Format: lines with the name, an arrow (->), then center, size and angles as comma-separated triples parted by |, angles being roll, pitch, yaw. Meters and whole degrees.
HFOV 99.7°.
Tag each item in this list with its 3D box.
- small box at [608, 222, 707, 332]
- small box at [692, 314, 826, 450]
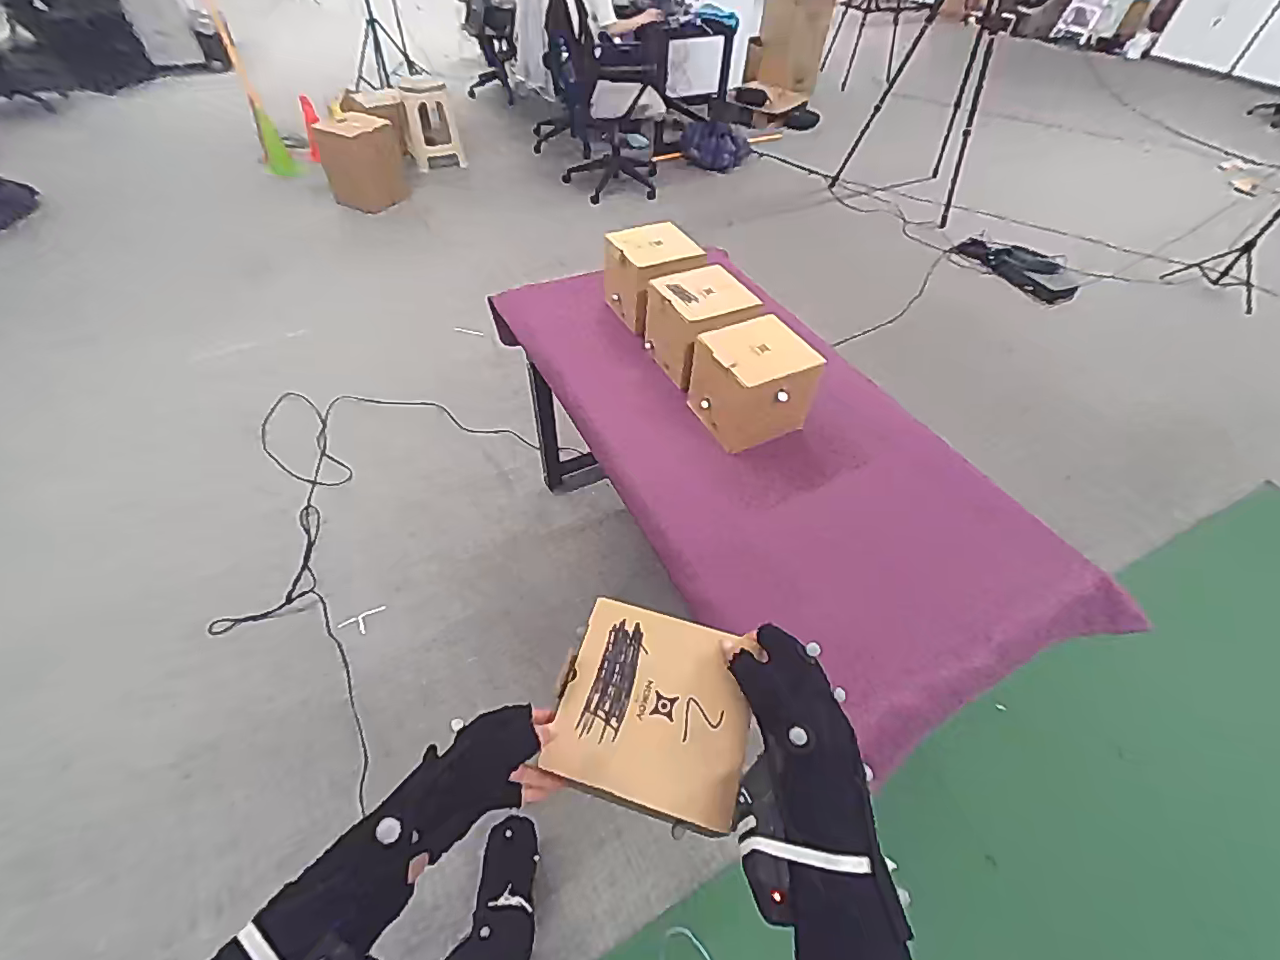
small box -> 0.034, -0.476, 1.271 | 0.179, 0.176, 0.168 | -21, 53, -19
small box -> 0.218, -0.186, 1.038 | 0.179, 0.176, 0.168 | -21, 54, -18
